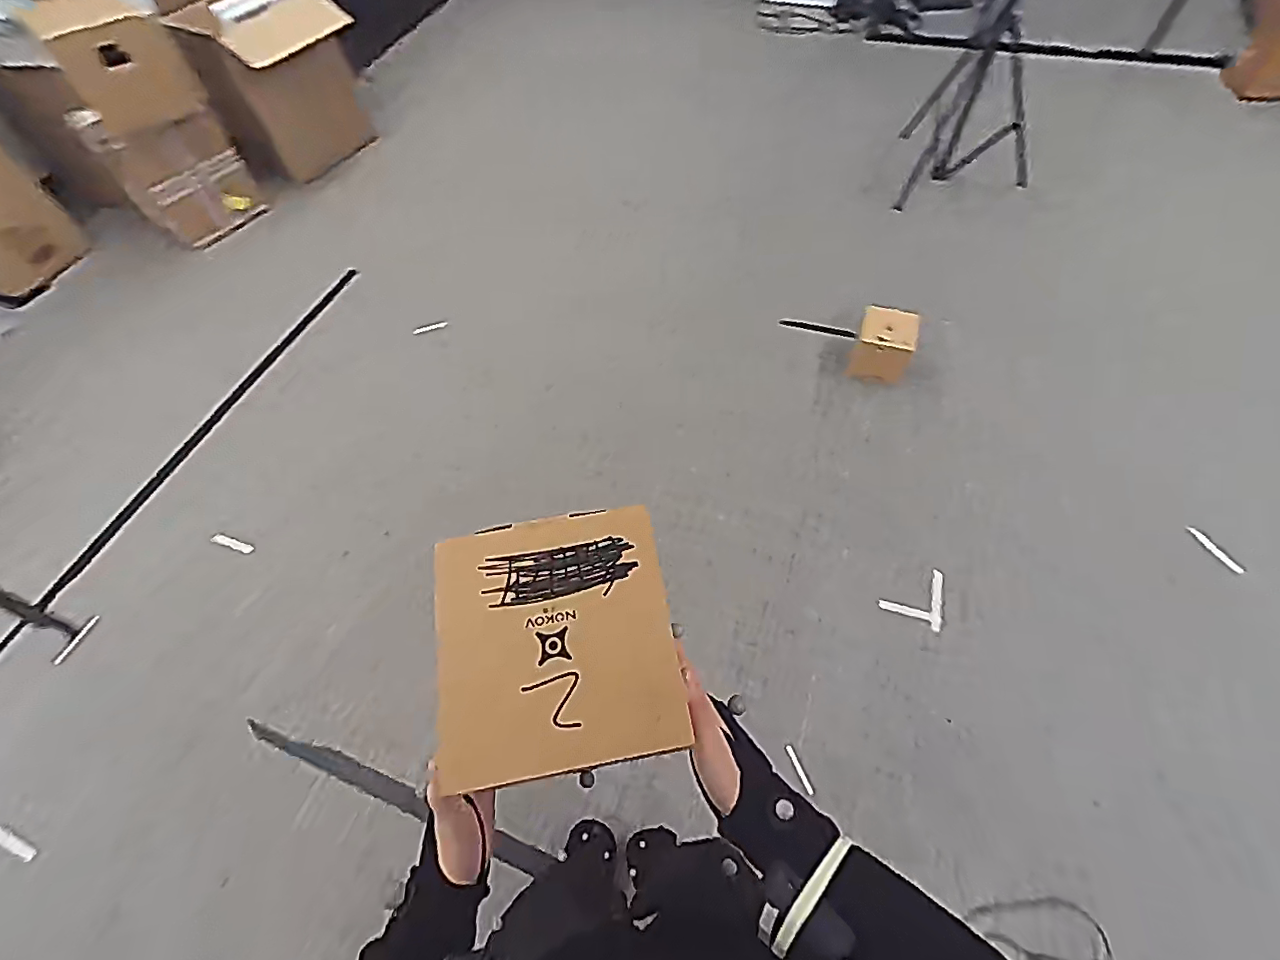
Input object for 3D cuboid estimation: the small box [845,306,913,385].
[{"bbox_3d":[0.807,-0.455,1.836,0.168,0.176,0.179,14,59,12],"label":"small box"}]
